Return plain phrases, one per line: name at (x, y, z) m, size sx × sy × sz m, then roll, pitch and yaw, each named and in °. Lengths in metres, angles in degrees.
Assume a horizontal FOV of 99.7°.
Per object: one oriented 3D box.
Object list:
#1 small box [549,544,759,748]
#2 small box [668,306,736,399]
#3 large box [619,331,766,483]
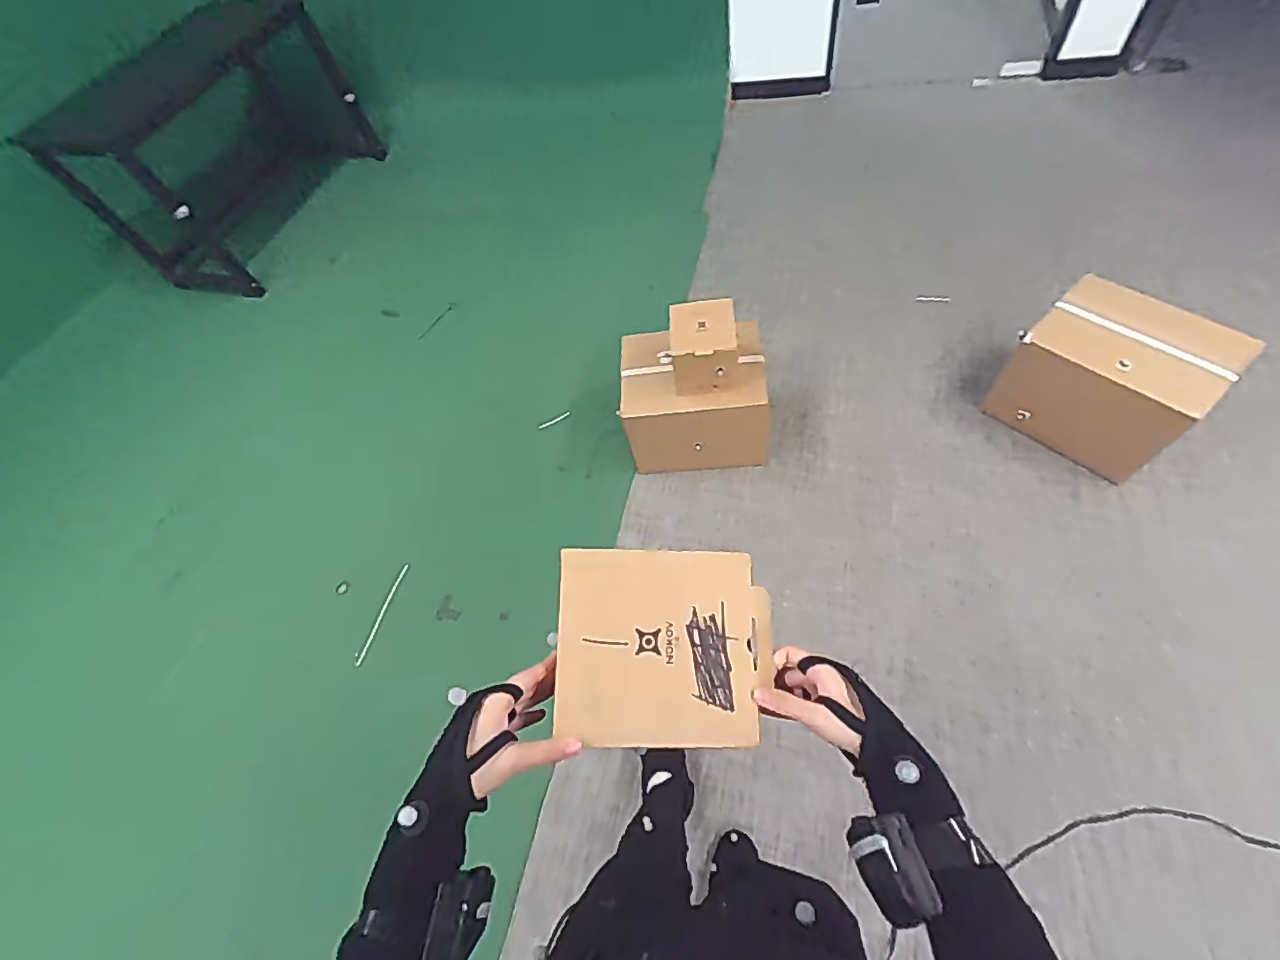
small box at (0.008, 0.165, 0.542) m, size 0.179 × 0.176 × 0.168 m, roll 3°, pitch 70°, yaw -3°
small box at (0.166, -0.330, 1.439) m, size 0.168 × 0.176 × 0.179 m, roll -4°, pitch 59°, yaw 8°
large box at (0.164, -0.212, 1.659) m, size 0.408 × 0.320 × 0.320 m, roll -6°, pitch 57°, yaw 9°
